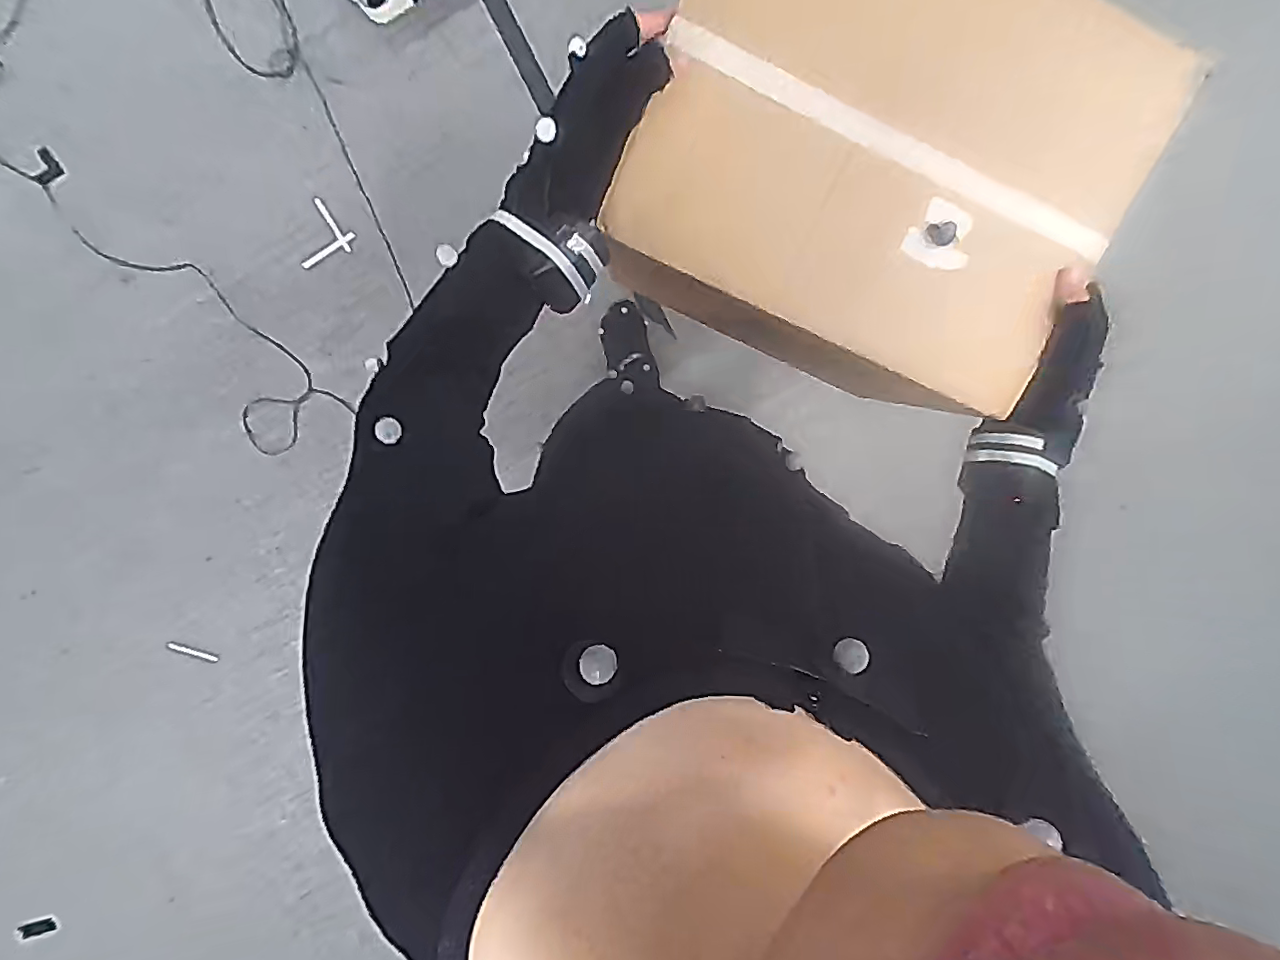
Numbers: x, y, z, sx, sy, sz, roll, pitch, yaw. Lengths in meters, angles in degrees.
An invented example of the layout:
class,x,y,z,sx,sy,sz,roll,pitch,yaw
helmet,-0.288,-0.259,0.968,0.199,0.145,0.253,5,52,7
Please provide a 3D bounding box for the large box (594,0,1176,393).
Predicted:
class,x,y,z,sx,sy,sz,roll,pitch,yaw
large box,0.193,-0.317,0.593,0.408,0.320,0.320,22,102,-6
